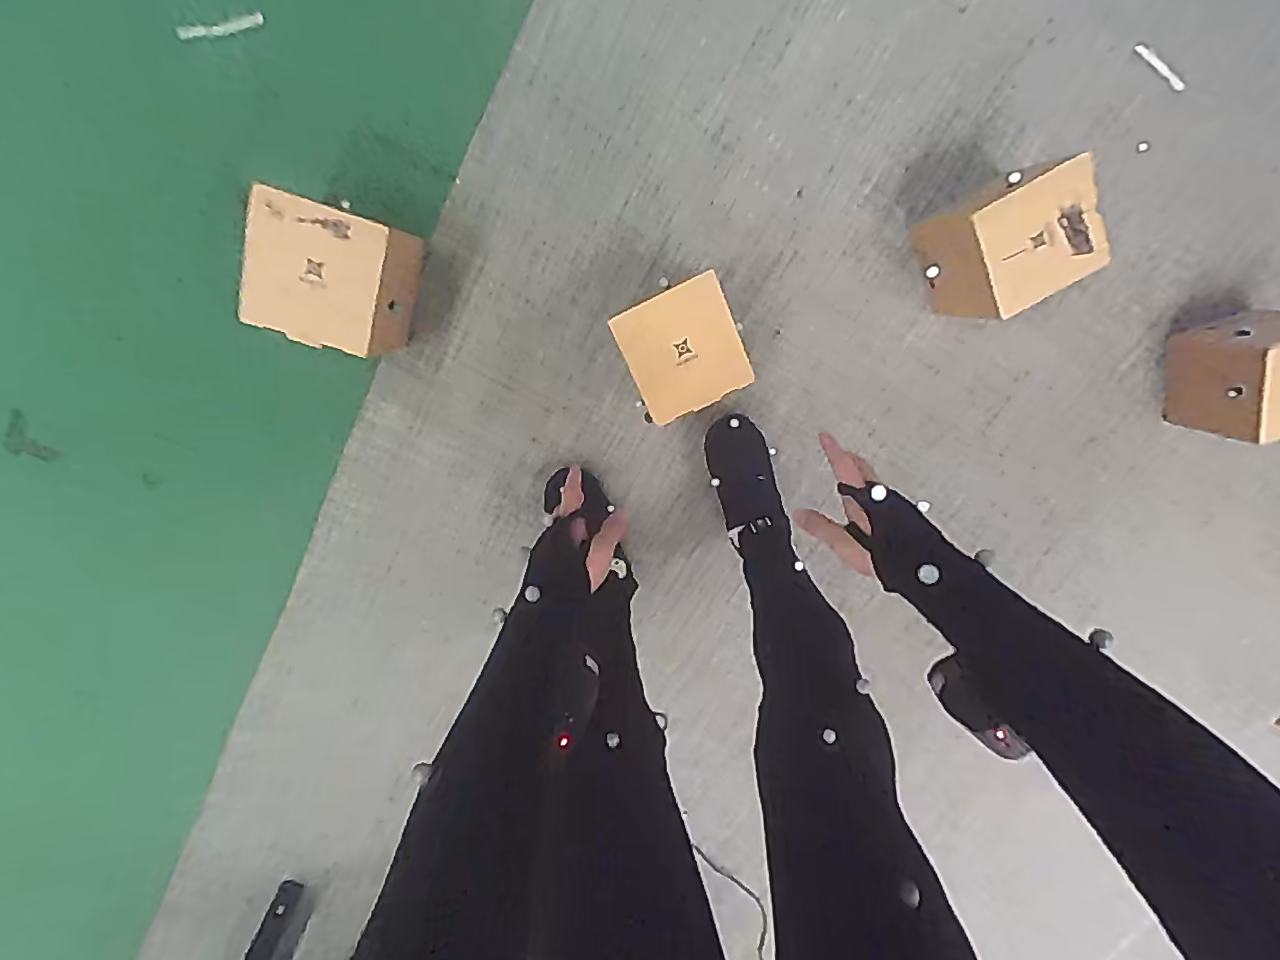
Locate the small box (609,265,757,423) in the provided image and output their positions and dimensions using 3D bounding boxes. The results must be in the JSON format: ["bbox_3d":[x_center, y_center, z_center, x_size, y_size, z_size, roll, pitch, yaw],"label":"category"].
[{"bbox_3d":[0.058,-0.217,0.852,0.168,0.176,0.179,-26,111,4],"label":"small box"}]

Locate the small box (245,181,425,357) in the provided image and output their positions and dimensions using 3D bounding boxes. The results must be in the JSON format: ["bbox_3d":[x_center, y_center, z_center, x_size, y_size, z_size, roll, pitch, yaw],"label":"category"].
[{"bbox_3d":[-0.426,-0.295,0.778,0.168,0.176,0.179,16,107,-10],"label":"small box"}]

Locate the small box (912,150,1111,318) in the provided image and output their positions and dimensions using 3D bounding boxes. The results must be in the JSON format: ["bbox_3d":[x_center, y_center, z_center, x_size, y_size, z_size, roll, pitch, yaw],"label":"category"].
[{"bbox_3d":[0.567,-0.373,0.842,0.179,0.176,0.168,-28,109,6],"label":"small box"}]
